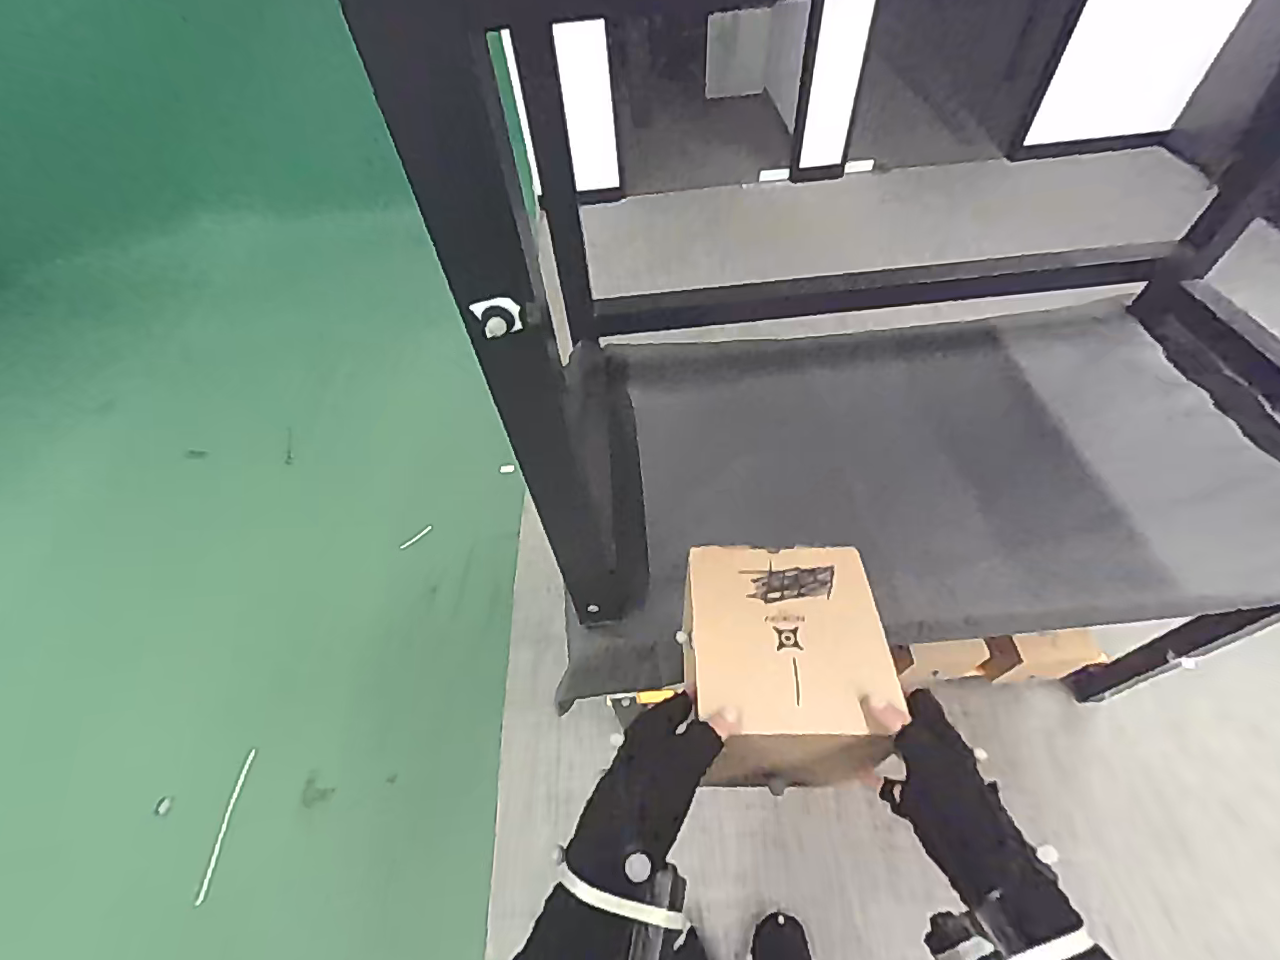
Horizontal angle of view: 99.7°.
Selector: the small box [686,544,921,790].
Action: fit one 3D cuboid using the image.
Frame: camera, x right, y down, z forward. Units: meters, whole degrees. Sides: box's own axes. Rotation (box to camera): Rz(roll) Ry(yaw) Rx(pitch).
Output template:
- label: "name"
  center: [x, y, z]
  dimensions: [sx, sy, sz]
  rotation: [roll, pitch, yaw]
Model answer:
- label: "small box"
  center: [0.133, 0.181, 0.524]
  dimensions: [0.168, 0.176, 0.179]
  rotation: [-1, 47, 1]
